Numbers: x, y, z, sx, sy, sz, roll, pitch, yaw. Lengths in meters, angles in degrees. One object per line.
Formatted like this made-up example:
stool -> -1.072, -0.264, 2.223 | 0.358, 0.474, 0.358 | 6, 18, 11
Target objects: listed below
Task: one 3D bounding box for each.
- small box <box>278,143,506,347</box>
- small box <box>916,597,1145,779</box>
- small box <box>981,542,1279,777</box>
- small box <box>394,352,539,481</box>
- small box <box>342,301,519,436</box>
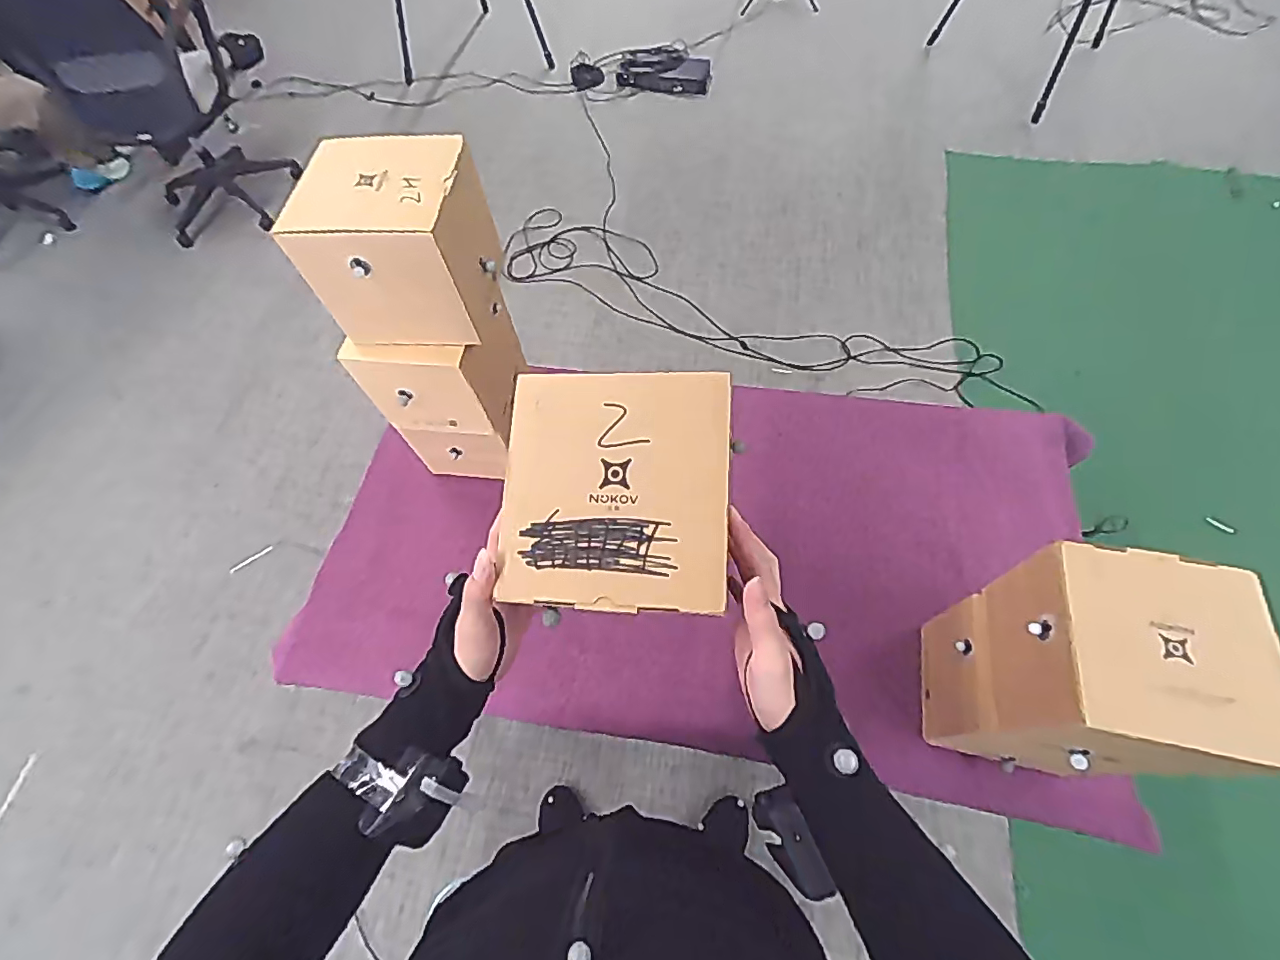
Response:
small box -> -0.282, -0.280, 0.662 | 0.179, 0.176, 0.168 | 2, 62, 4
small box -> 0.481, 0.269, 0.694 | 0.179, 0.176, 0.168 | 11, 62, 9
small box -> 0.475, 0.188, 0.553 | 0.168, 0.176, 0.179 | 10, 62, 11
small box -> -0.286, -0.110, 0.941 | 0.179, 0.176, 0.168 | 4, 62, 6
small box -> -0.290, -0.181, 0.796 | 0.168, 0.176, 0.179 | 5, 62, 6
